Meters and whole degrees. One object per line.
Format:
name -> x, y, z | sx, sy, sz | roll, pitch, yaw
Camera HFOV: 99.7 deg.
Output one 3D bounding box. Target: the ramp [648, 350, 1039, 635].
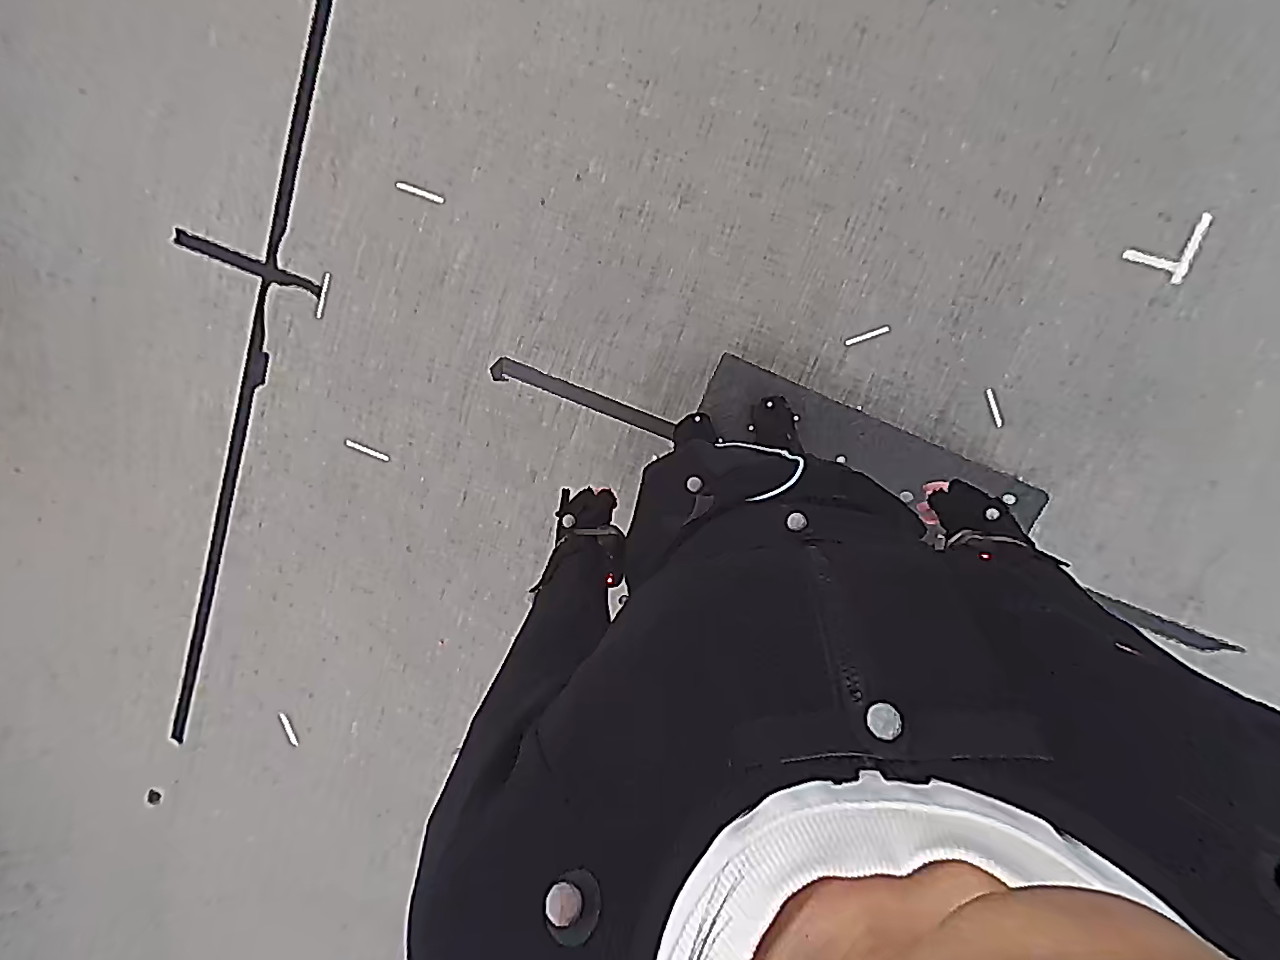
ramp -> 0.566, 0.060, 1.485 | 0.991, 0.206, 0.509 | 22, 100, 3
